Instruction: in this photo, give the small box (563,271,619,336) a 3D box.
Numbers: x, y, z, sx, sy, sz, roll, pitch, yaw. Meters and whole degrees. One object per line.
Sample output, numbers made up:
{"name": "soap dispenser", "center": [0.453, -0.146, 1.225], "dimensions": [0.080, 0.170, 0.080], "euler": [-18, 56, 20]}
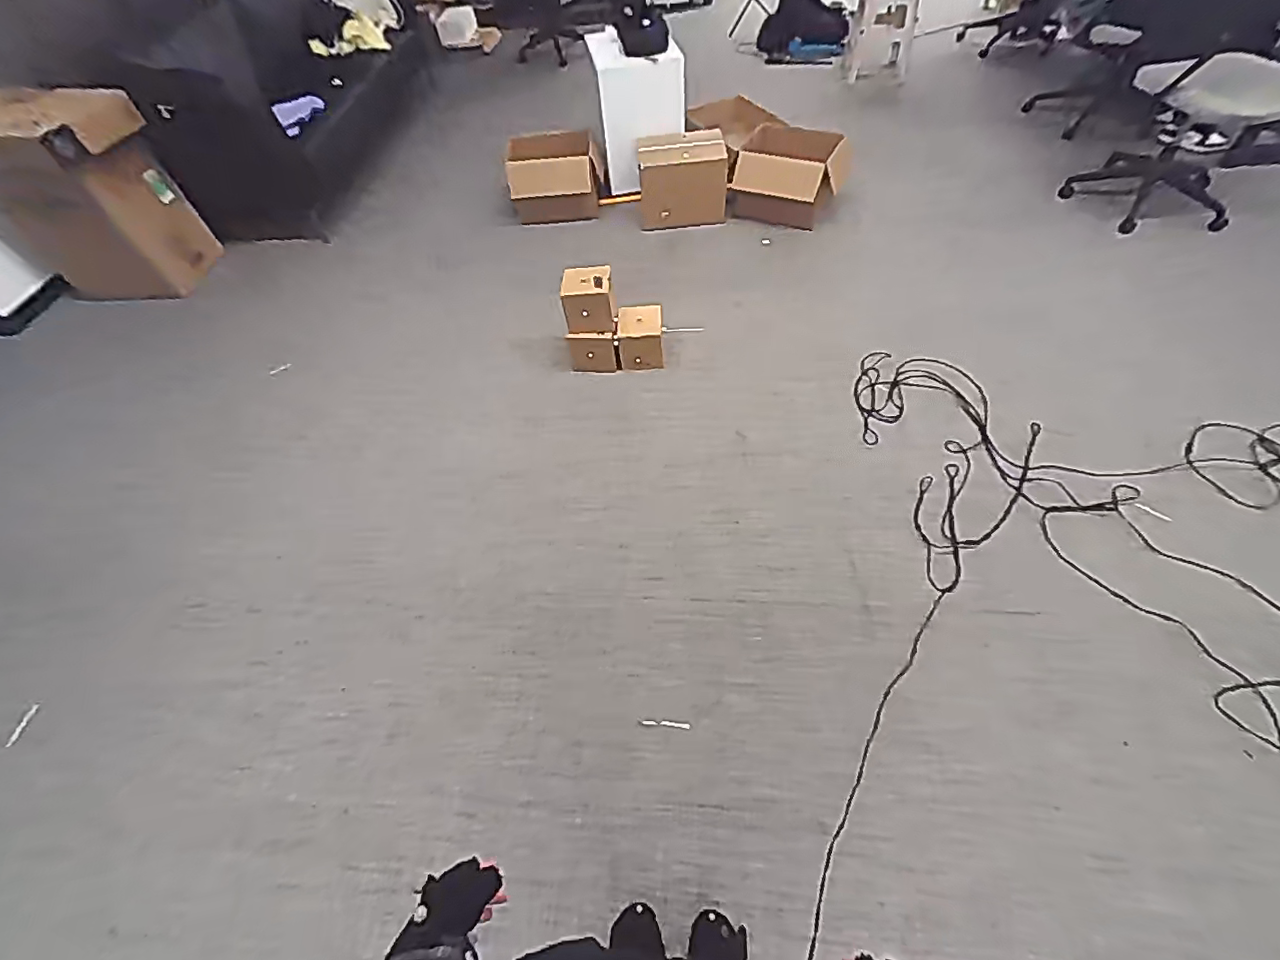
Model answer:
{"name": "small box", "center": [-0.176, -0.650, 2.001], "dimensions": [0.179, 0.176, 0.168], "euler": [-2, 53, 6]}
